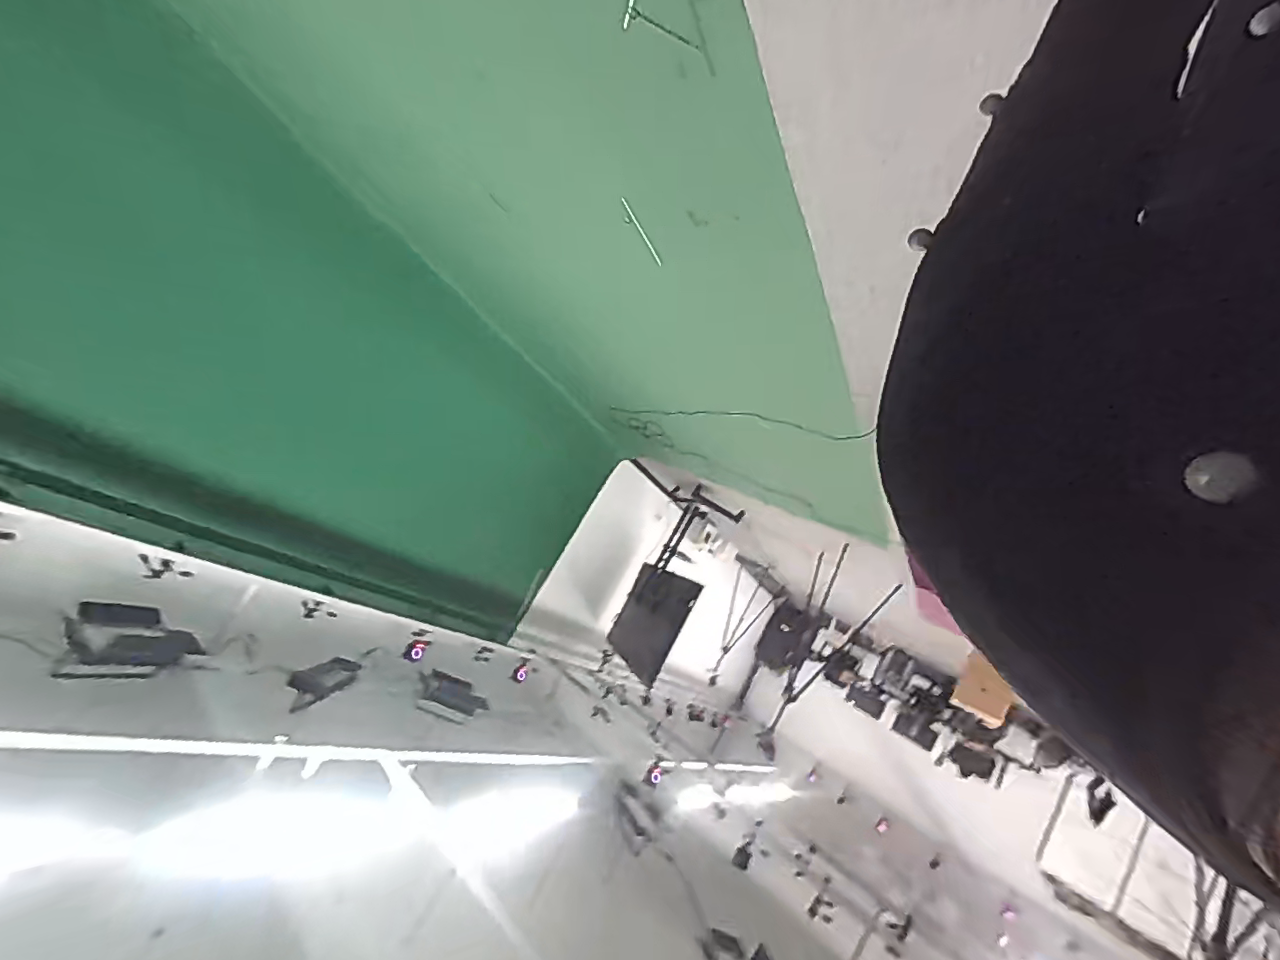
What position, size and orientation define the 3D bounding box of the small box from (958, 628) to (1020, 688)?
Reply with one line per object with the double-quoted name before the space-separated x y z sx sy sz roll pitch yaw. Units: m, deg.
"small box" 1.420 0.723 2.202 0.168 0.176 0.179 23 168 34
